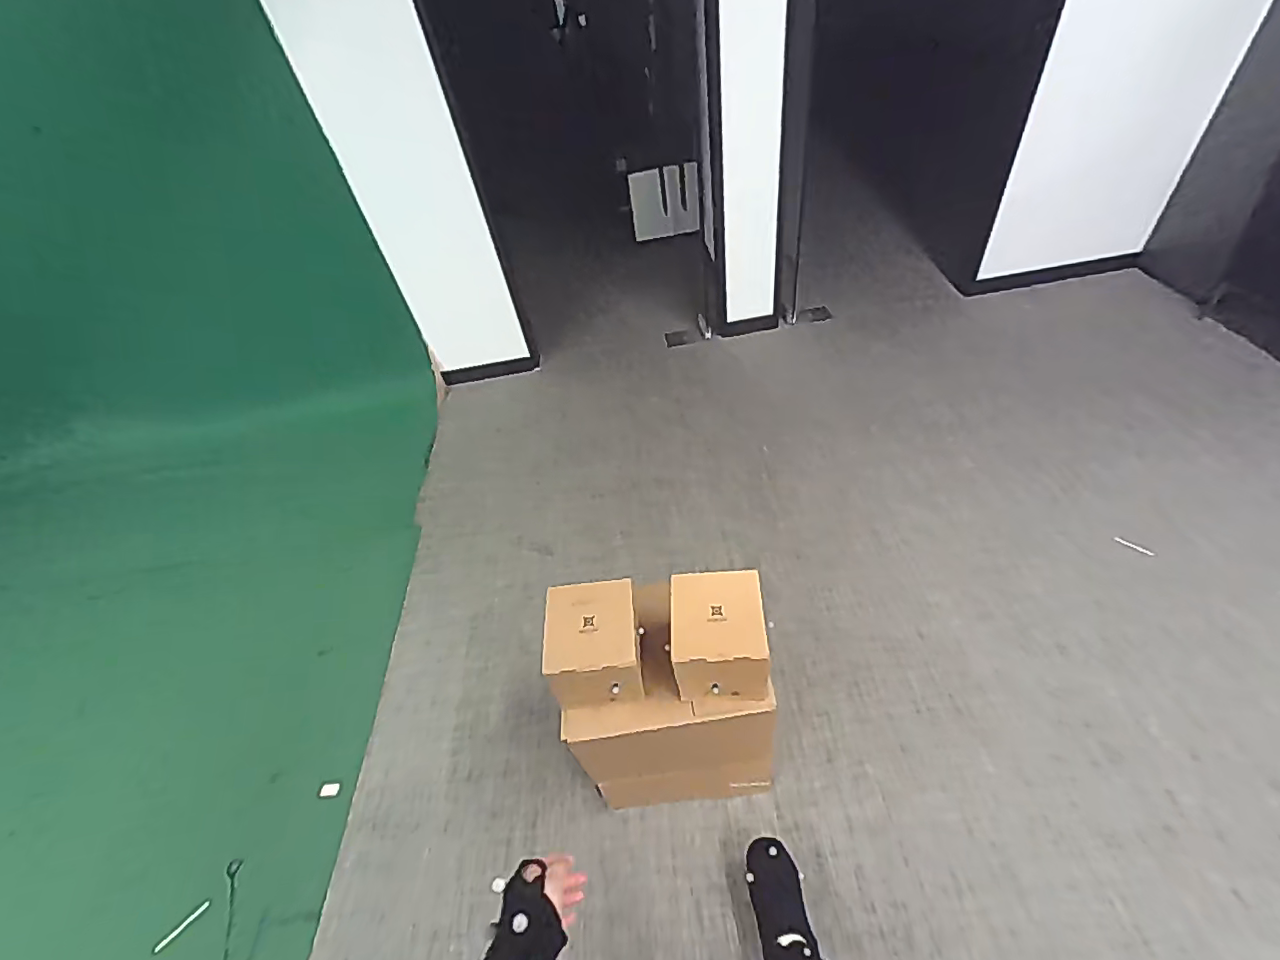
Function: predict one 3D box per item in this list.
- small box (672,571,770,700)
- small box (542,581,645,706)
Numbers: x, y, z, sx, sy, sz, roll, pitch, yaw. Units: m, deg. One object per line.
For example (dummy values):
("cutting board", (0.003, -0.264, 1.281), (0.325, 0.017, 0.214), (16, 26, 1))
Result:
("small box", (0.149, 0.294, 1.016), (0.168, 0.176, 0.179), (-5, 46, 8))
("small box", (-0.083, 0.320, 1.038), (0.168, 0.176, 0.179), (-7, 46, 2))
